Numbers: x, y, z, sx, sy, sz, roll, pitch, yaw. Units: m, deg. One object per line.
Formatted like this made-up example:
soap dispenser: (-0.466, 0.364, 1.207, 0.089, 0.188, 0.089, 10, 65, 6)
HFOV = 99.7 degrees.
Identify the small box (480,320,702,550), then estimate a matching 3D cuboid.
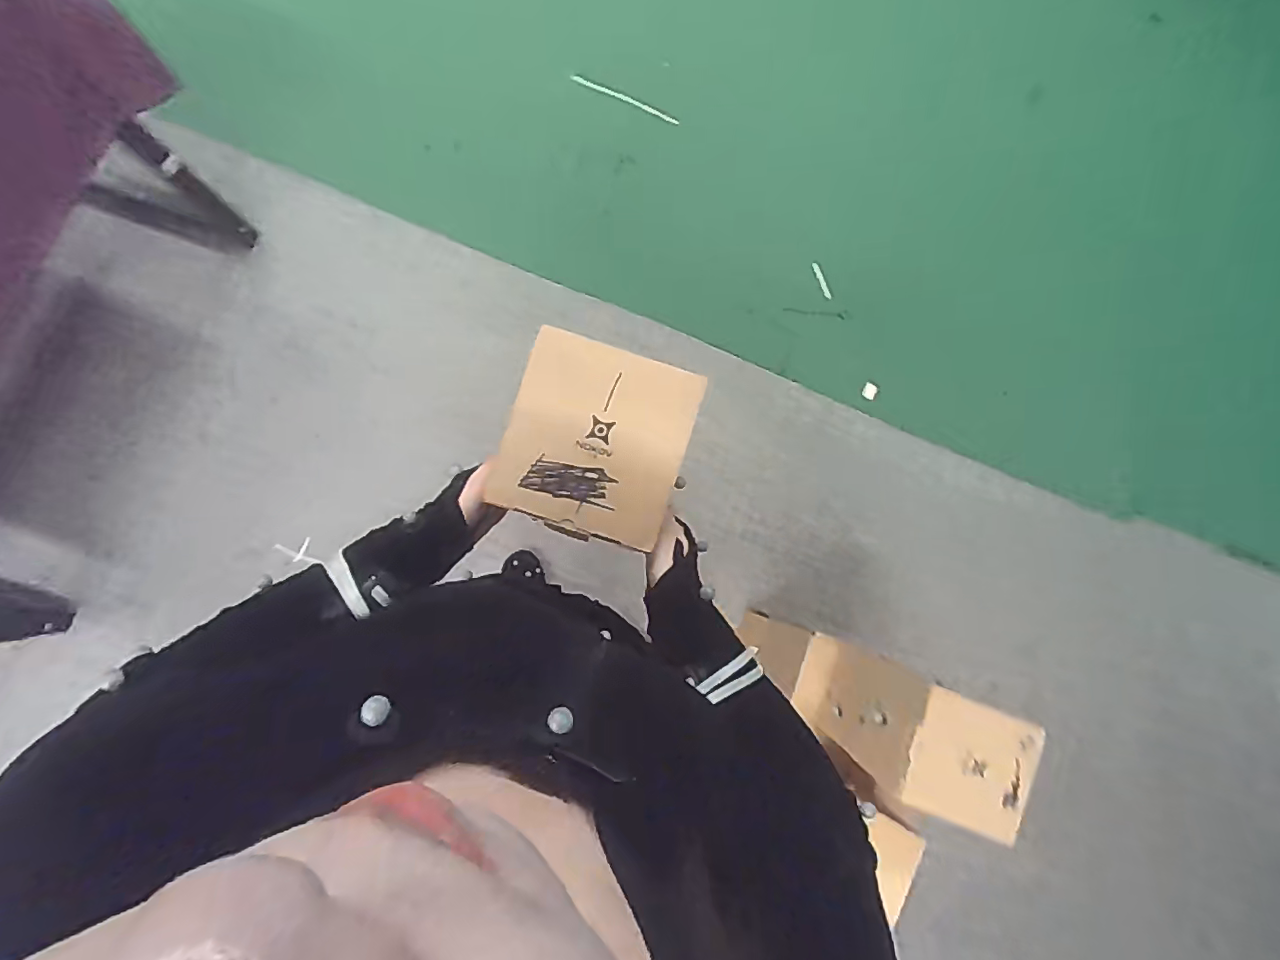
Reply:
small box: (-0.046, -0.039, 0.575, 0.168, 0.176, 0.179, 18, 87, -1)

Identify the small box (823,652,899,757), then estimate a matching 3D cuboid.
small box: (0.462, 0.430, 0.985, 0.179, 0.176, 0.168, 24, 83, 0)

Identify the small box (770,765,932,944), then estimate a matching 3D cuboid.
small box: (0.358, 0.637, 0.947, 0.179, 0.176, 0.168, 29, 80, 0)

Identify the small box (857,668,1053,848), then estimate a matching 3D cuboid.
small box: (0.462, 0.404, 0.823, 0.179, 0.176, 0.168, 22, 84, 0)
